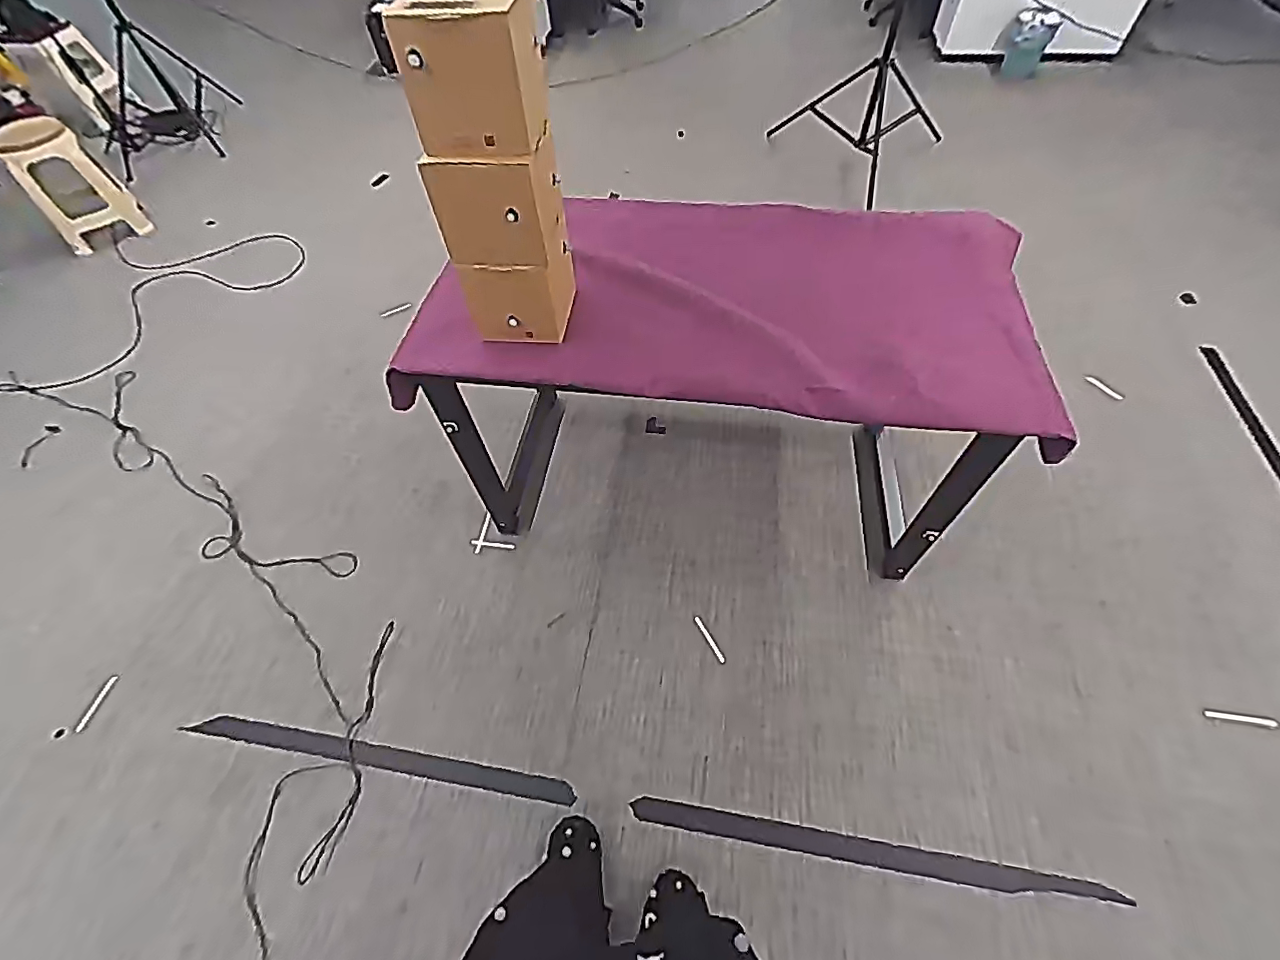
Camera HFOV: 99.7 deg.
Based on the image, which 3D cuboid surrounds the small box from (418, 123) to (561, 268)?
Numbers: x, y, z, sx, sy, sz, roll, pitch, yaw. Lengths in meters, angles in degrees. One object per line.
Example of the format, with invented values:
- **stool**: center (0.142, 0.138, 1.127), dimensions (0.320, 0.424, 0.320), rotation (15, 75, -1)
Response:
- **small box**: center (-0.240, -0.478, 0.919), dimensions (0.179, 0.176, 0.168), rotation (2, 54, 5)

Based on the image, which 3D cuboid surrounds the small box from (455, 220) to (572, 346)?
- **small box**: center (-0.232, -0.385, 1.051), dimensions (0.168, 0.176, 0.179), rotation (3, 56, 5)
